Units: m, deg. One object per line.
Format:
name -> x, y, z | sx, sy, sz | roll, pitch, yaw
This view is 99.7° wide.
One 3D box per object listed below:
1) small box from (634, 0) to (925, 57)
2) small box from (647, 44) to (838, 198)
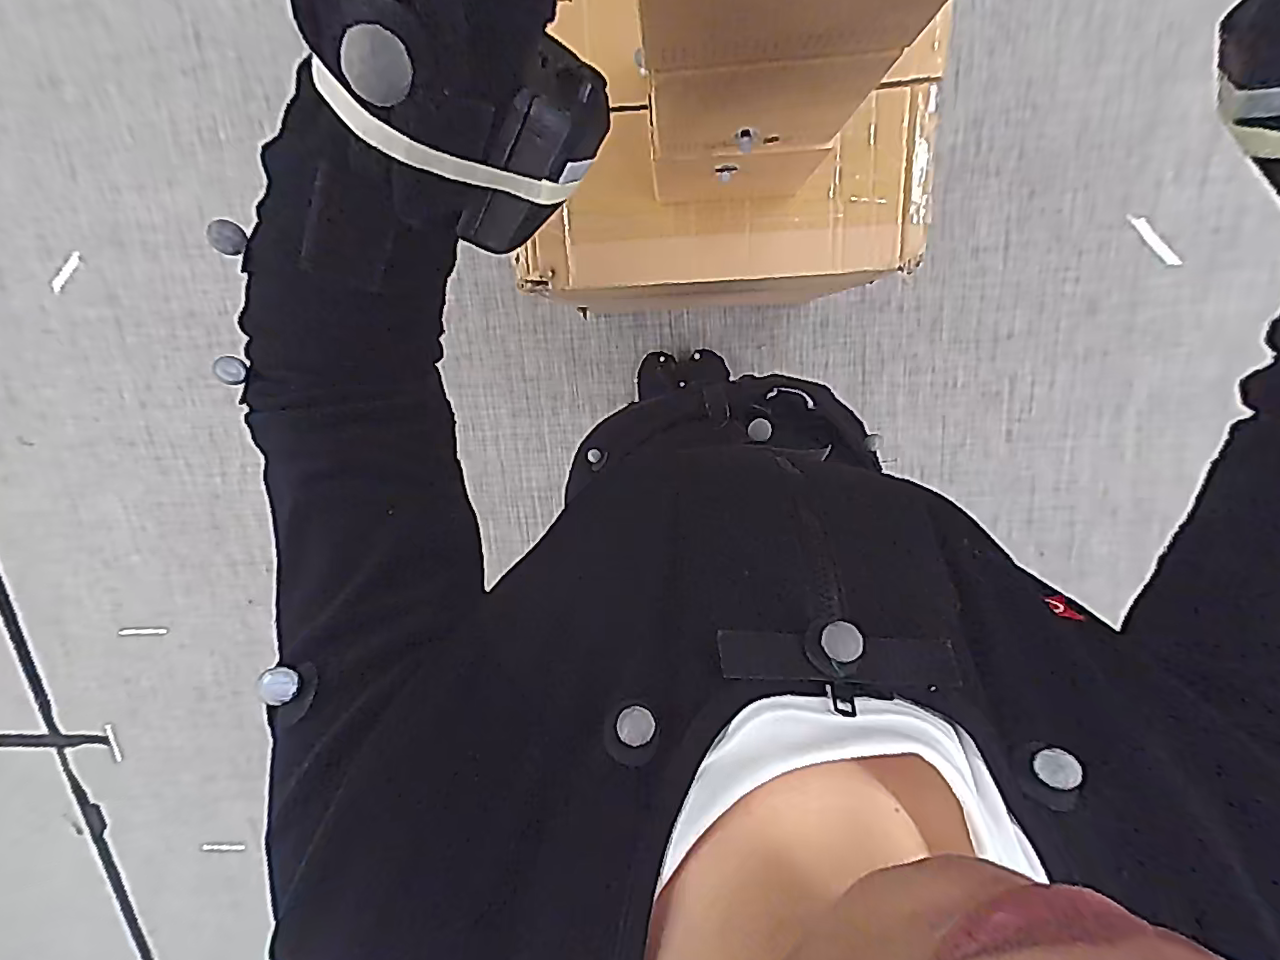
small box -> 0.080, -0.335, 0.252 | 0.179, 0.176, 0.168 | -2, 105, 4
small box -> 0.098, -0.410, 0.572 | 0.179, 0.176, 0.168 | -2, 104, 4
